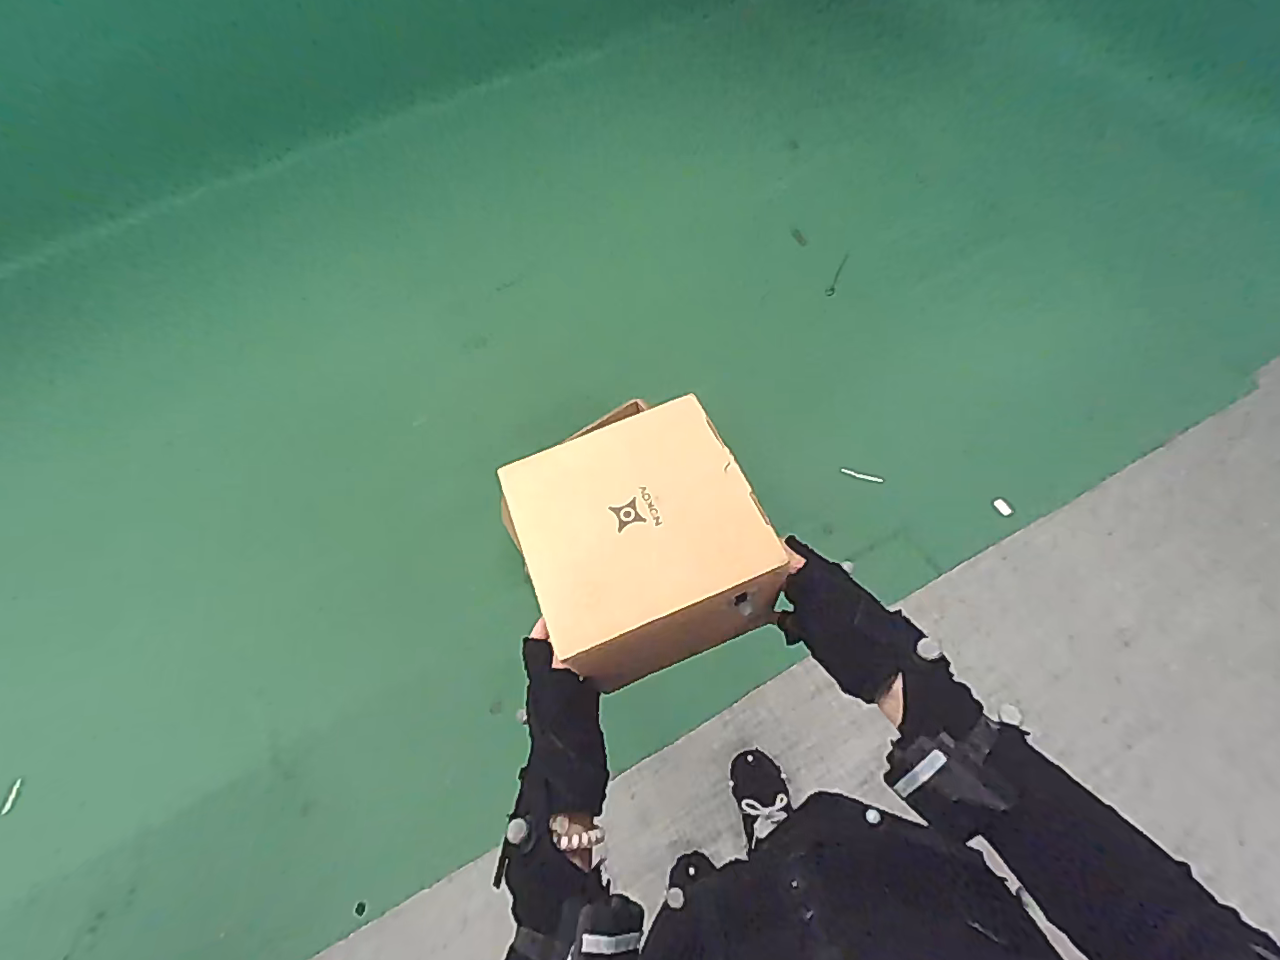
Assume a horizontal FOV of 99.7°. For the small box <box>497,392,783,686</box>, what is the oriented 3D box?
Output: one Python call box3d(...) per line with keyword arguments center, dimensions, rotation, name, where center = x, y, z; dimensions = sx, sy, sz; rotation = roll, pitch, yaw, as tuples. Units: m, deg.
box3d(center=(0.002, 0.061, 0.472), dimensions=(0.179, 0.176, 0.168), rotation=(-22, 61, -6), name="small box")
